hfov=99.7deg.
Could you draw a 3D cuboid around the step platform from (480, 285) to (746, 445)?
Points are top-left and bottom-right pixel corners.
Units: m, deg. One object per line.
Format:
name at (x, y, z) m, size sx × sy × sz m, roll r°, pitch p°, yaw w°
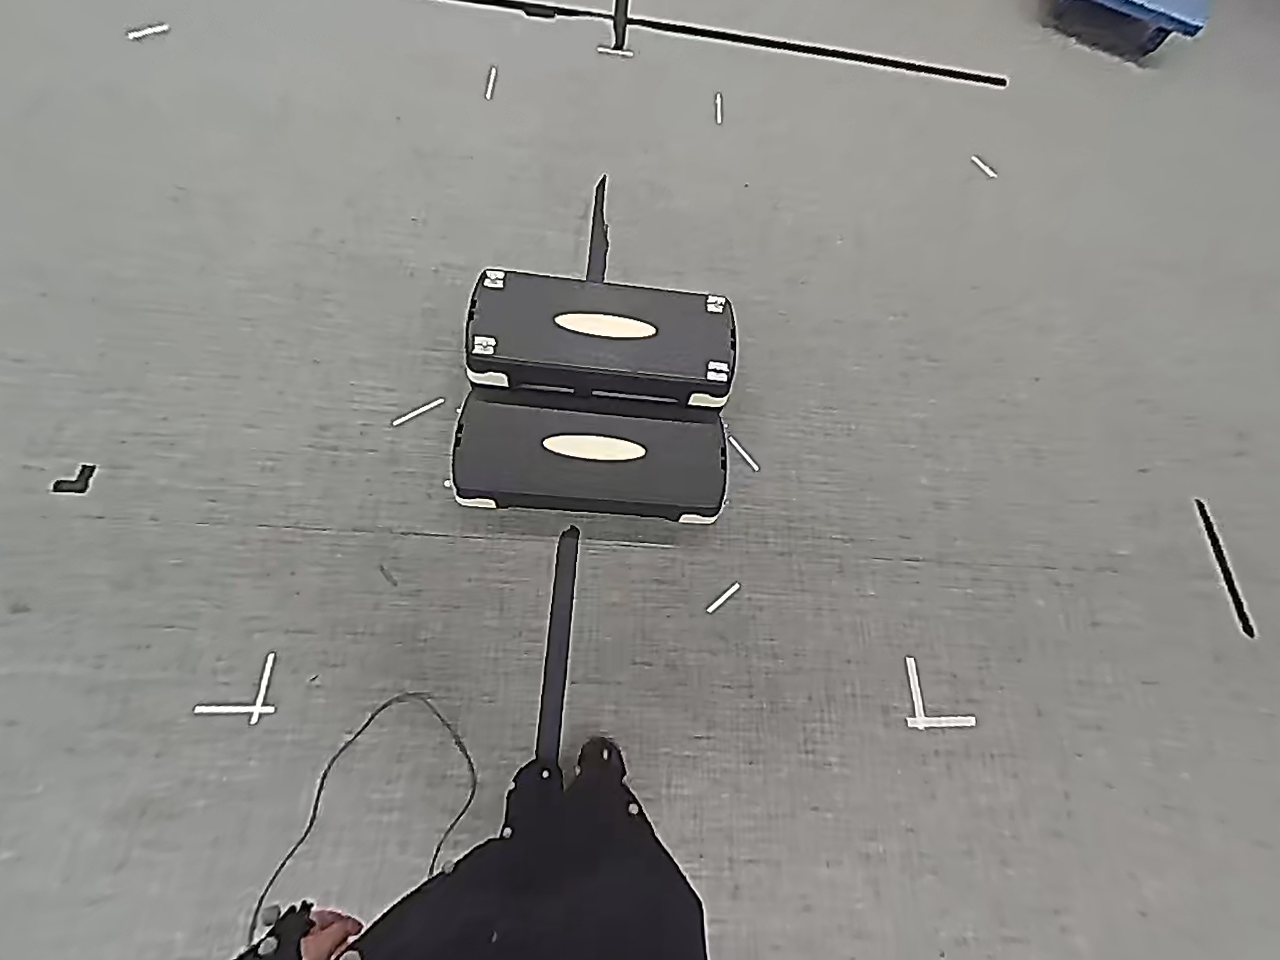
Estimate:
step platform at (-0.067, -0.301, 1.433) m, size 0.684 × 0.204 × 0.286 m, roll 9°, pitch 67°, yaw -5°
